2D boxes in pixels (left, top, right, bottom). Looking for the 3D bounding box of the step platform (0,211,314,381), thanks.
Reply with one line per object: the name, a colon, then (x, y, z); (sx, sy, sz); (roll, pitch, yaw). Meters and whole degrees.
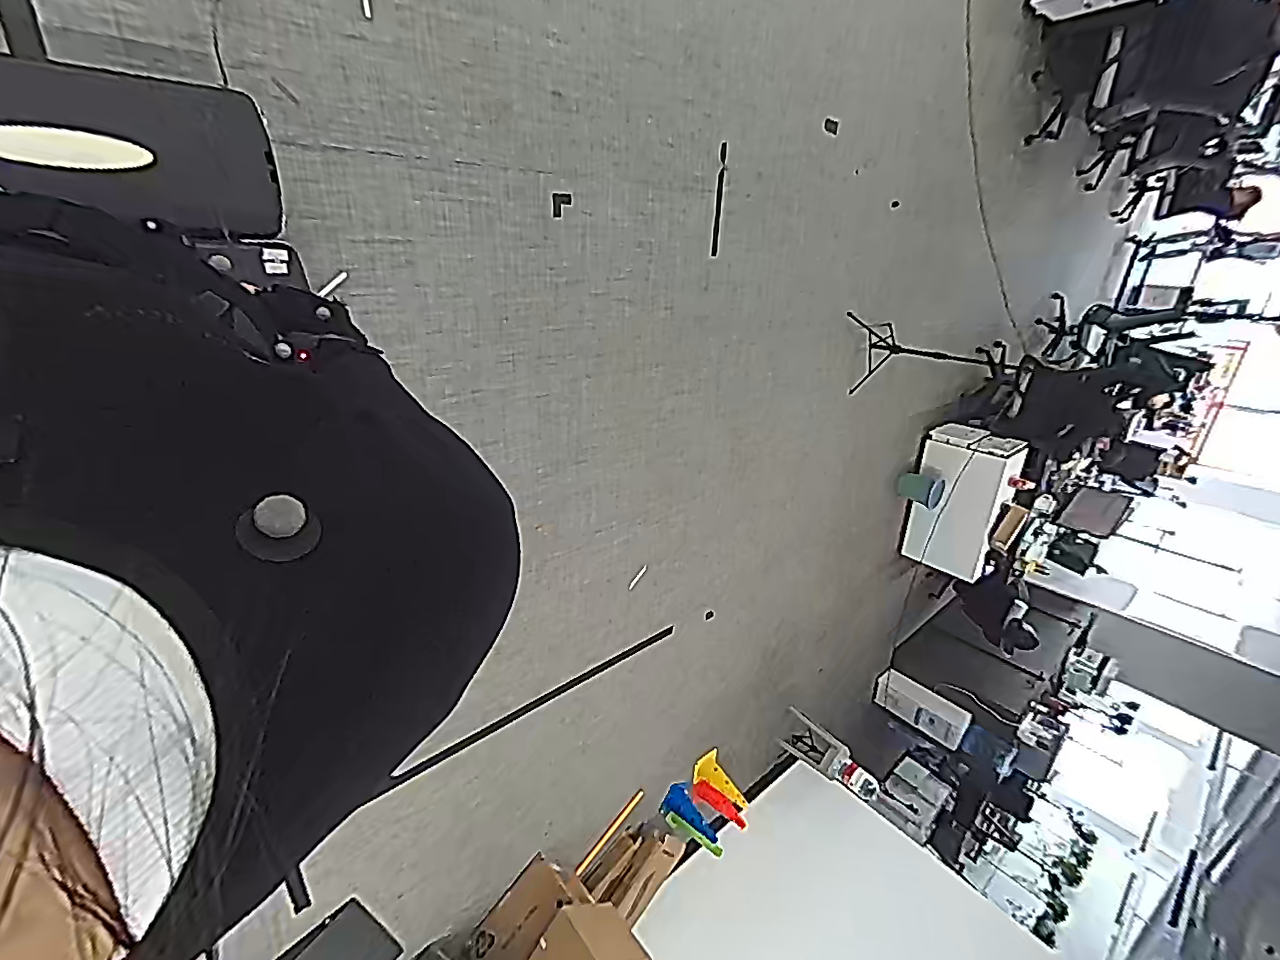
step platform: (-1.051, -0.373, 1.081); (0.684, 0.204, 0.286); (-17, 118, -36)
